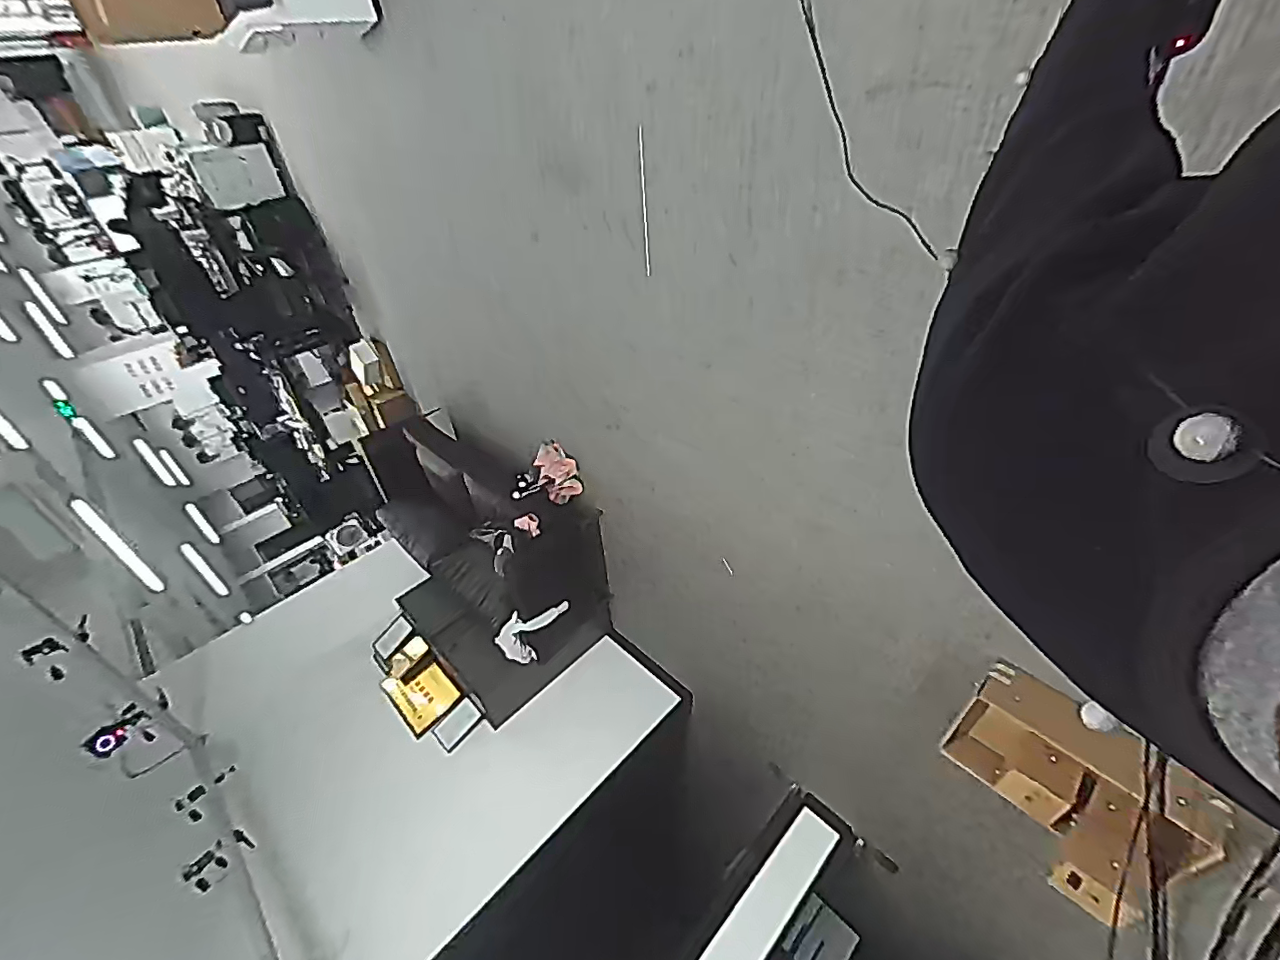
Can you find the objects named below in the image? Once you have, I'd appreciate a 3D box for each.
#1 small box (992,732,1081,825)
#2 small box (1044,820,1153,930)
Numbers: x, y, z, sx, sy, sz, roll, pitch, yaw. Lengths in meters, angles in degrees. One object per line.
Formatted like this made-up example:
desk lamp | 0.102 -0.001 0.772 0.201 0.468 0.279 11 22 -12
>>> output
small box | 1.293 0.967 1.760 0.168 0.176 0.179 31 140 33
small box | 1.315 1.122 1.554 0.179 0.176 0.168 29 138 37
